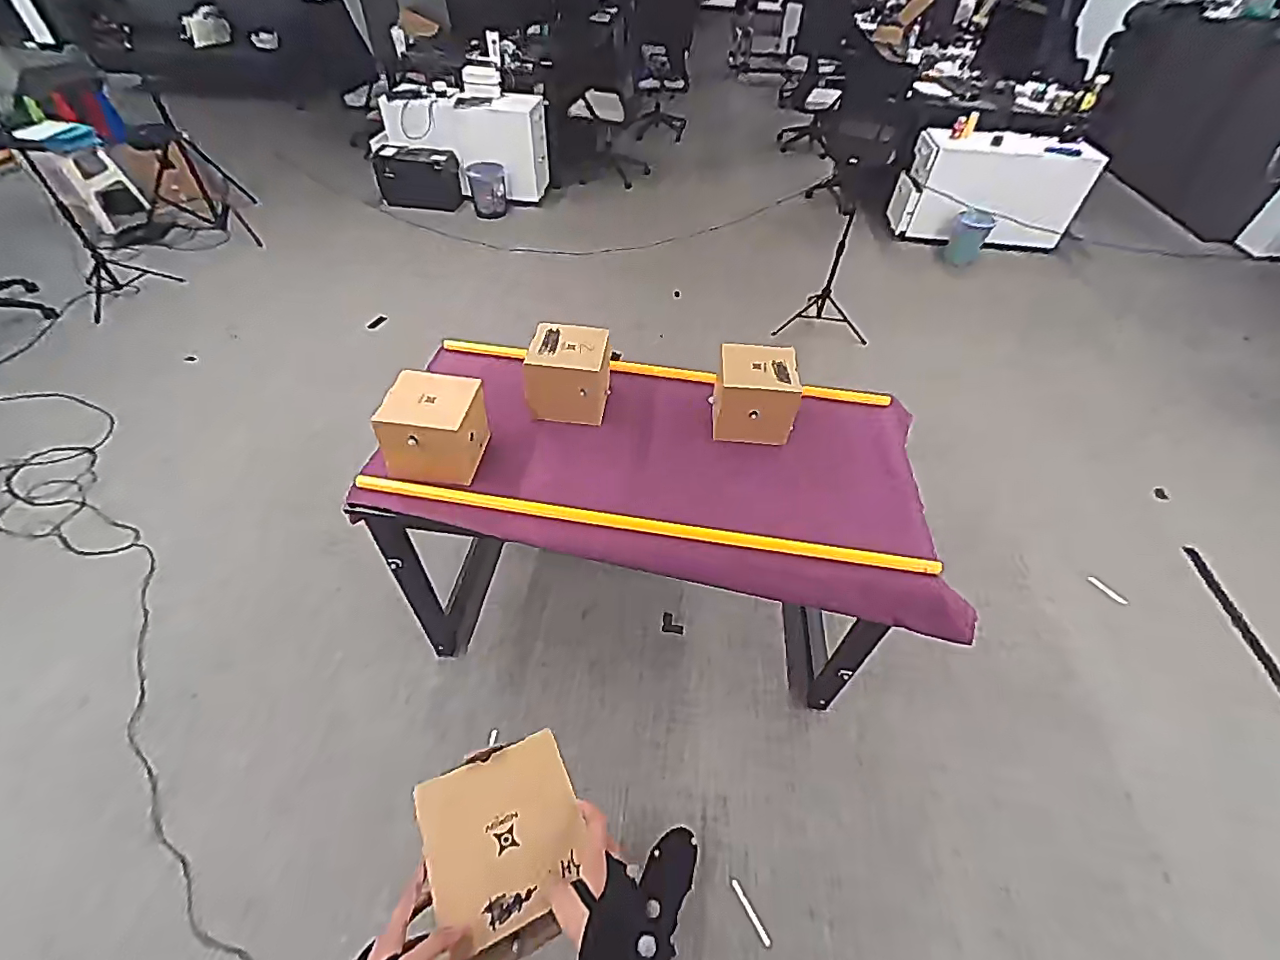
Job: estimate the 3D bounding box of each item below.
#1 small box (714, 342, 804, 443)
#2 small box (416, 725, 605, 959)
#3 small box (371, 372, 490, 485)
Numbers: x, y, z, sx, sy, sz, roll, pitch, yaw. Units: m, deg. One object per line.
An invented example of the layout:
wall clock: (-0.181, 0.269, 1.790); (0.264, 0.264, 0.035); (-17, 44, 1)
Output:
small box: (0.273, -0.204, 1.281); (0.179, 0.176, 0.168); (4, 49, 2)
small box: (-0.151, 0.433, 0.637); (0.168, 0.176, 0.179); (-16, 47, -21)
small box: (-0.434, -0.106, 1.160); (0.179, 0.176, 0.168); (6, 48, 2)
